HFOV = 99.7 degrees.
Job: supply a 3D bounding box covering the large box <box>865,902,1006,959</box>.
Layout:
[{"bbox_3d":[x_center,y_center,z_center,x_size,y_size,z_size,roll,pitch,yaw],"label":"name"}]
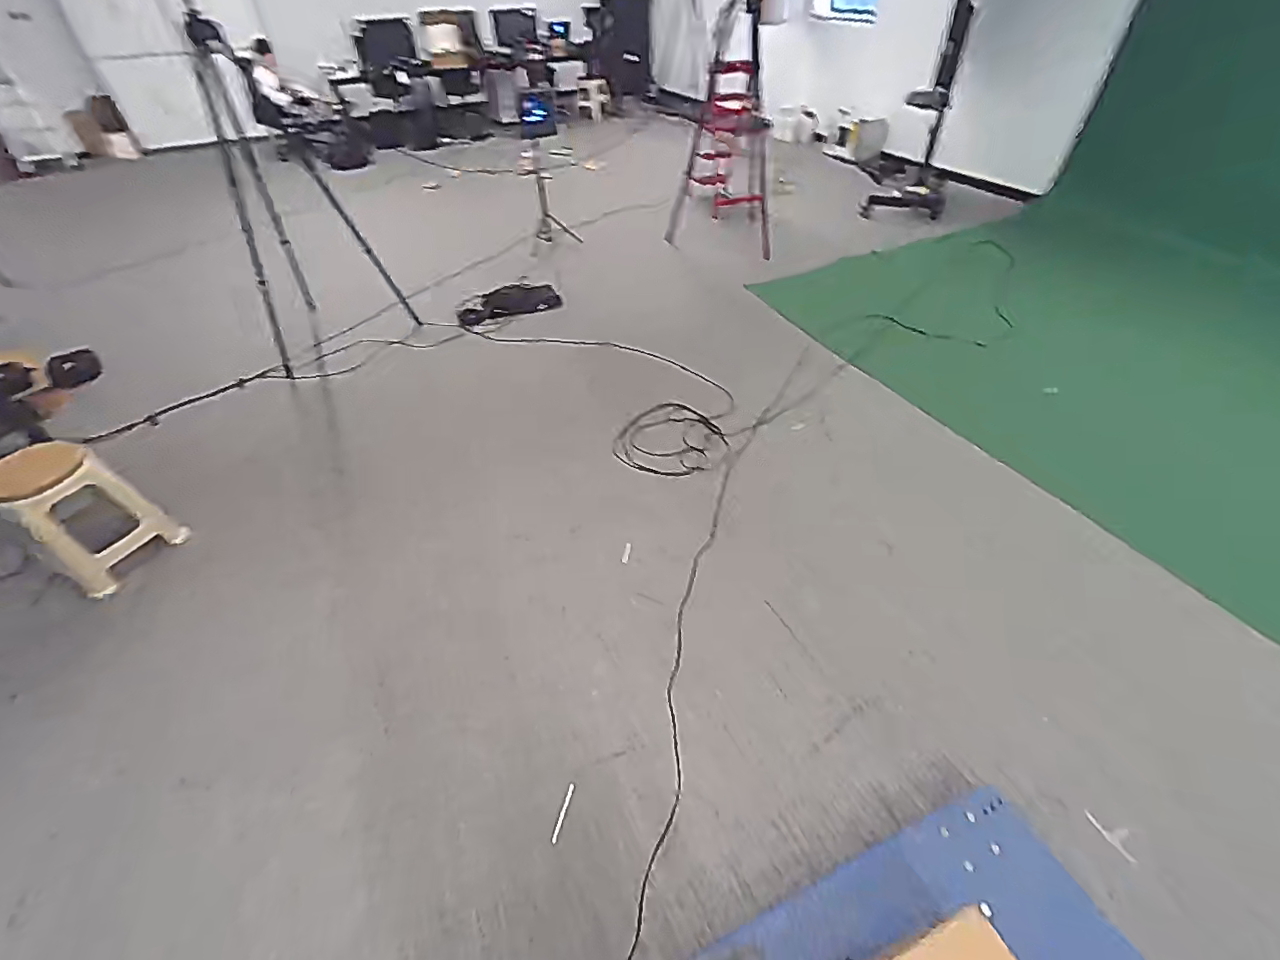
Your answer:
[{"bbox_3d":[0.440,0.985,0.870,0.408,0.320,0.320,-18,47,-17],"label":"large box"}]
